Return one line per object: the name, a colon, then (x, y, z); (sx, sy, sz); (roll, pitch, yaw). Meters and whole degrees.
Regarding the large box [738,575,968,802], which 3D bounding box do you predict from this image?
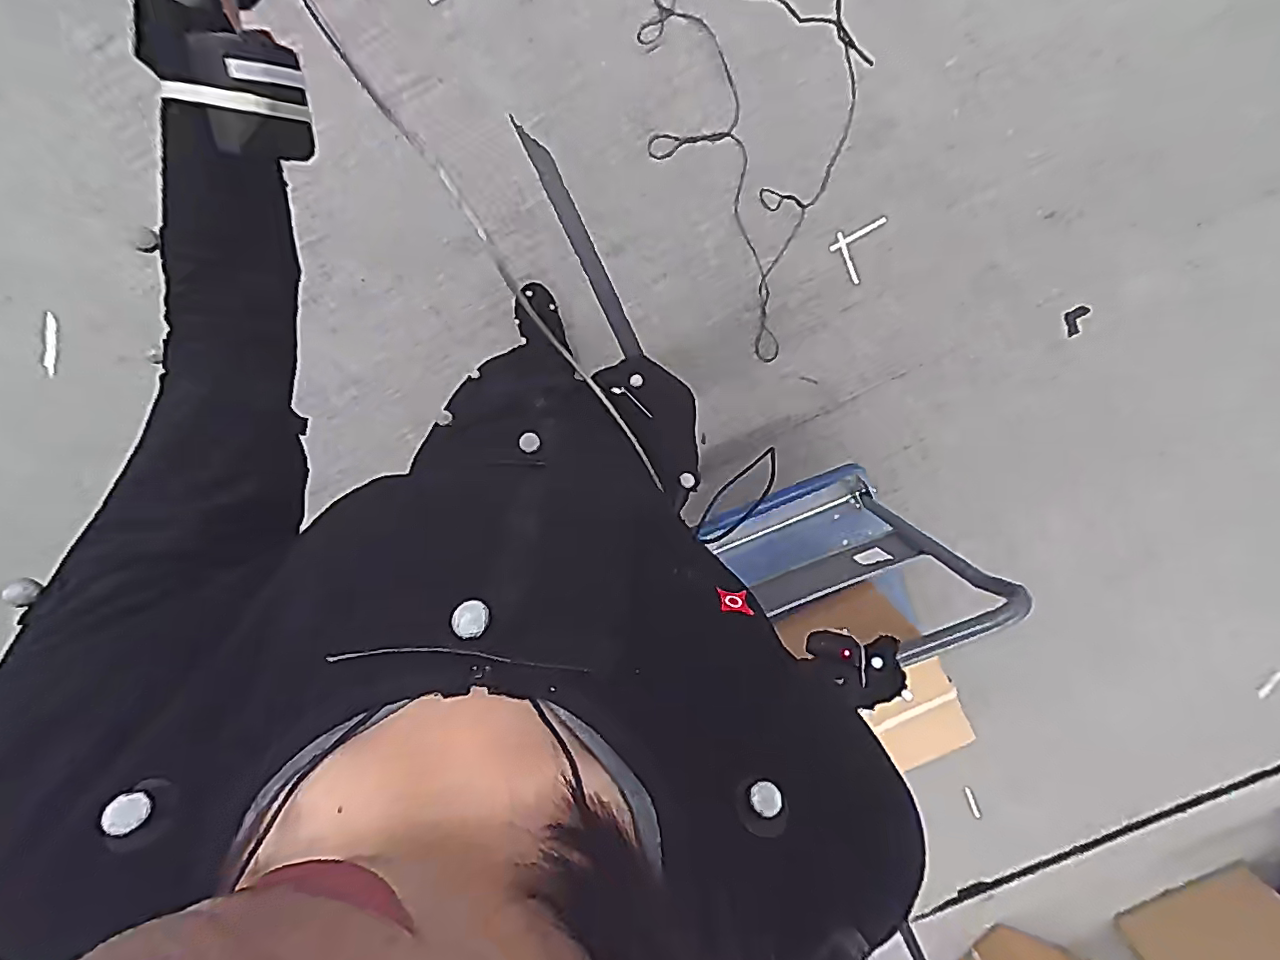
large box: (0.518, 0.516, 1.385); (0.408, 0.320, 0.320); (-29, 105, 7)
